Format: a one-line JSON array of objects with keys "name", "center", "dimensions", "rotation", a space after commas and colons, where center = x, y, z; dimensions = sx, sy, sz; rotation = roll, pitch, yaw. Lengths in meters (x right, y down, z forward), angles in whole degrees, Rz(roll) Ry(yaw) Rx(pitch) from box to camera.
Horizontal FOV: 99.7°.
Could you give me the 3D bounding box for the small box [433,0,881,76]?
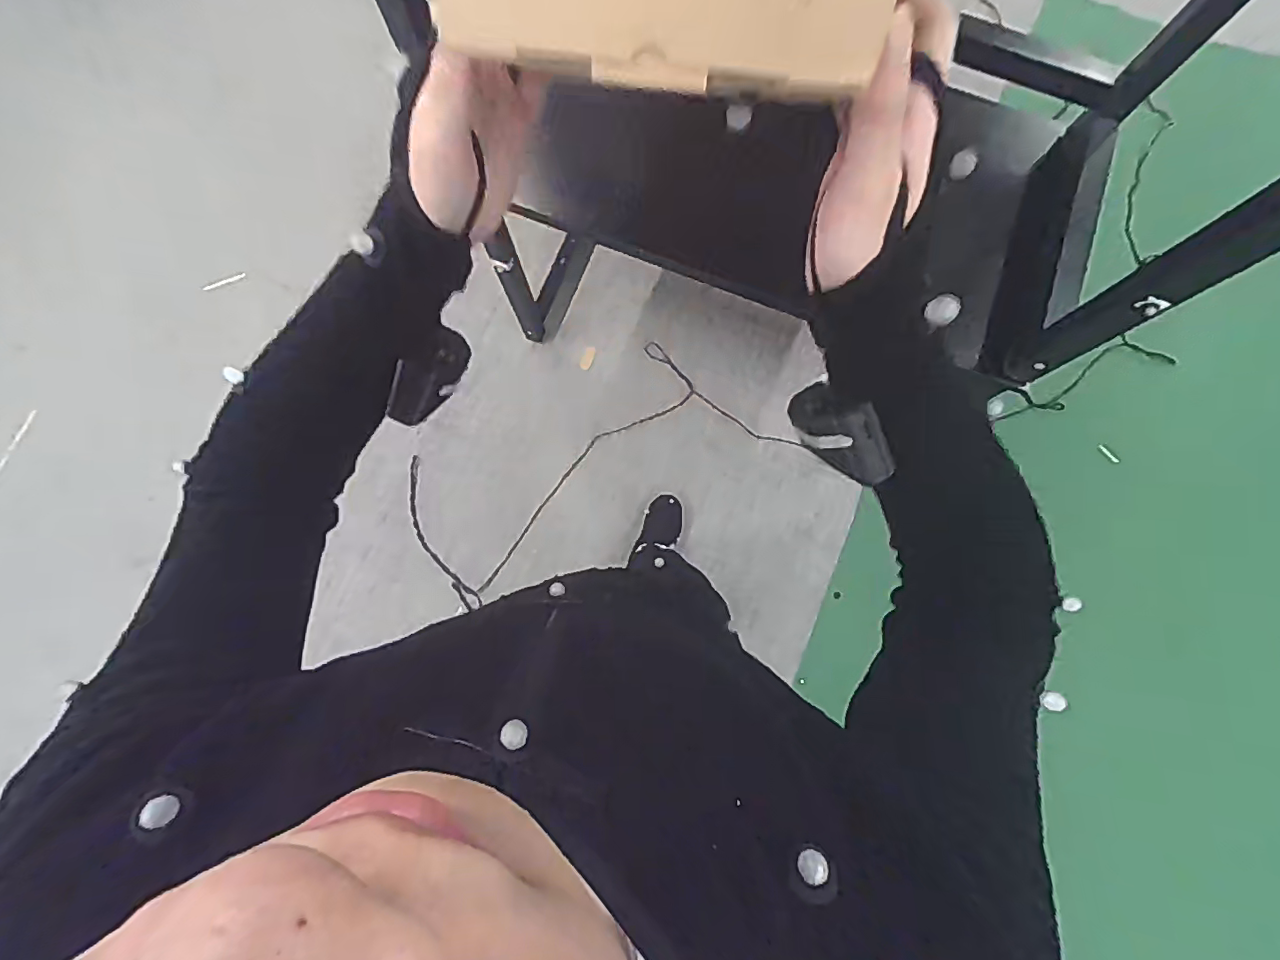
[{"name": "small box", "center": [0.023, -0.276, 0.211], "dimensions": [0.168, 0.179, 0.176], "rotation": [10, 34, 4]}]
